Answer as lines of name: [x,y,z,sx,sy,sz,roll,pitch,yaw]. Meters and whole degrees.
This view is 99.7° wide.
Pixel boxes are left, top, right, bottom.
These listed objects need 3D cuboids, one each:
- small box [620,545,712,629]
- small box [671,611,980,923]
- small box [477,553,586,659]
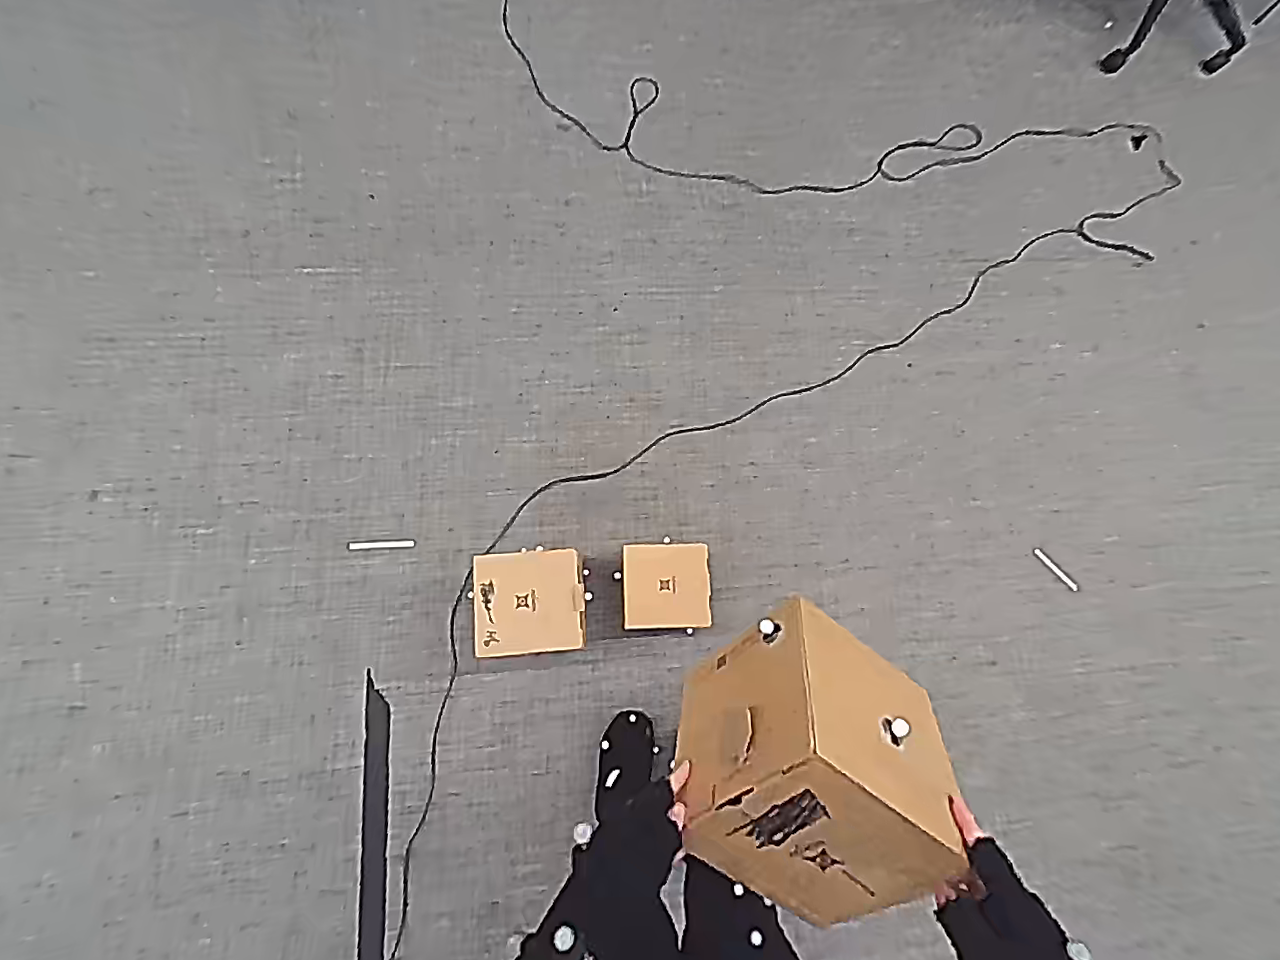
small box: [0.048,0.230,1.157,0.179,0.176,0.168,0,79,-6]
small box: [0.151,0.247,0.493,0.179,0.176,0.168,37,119,-10]
small box: [-0.188,0.220,0.968,0.179,0.176,0.168,-3,79,-5]
